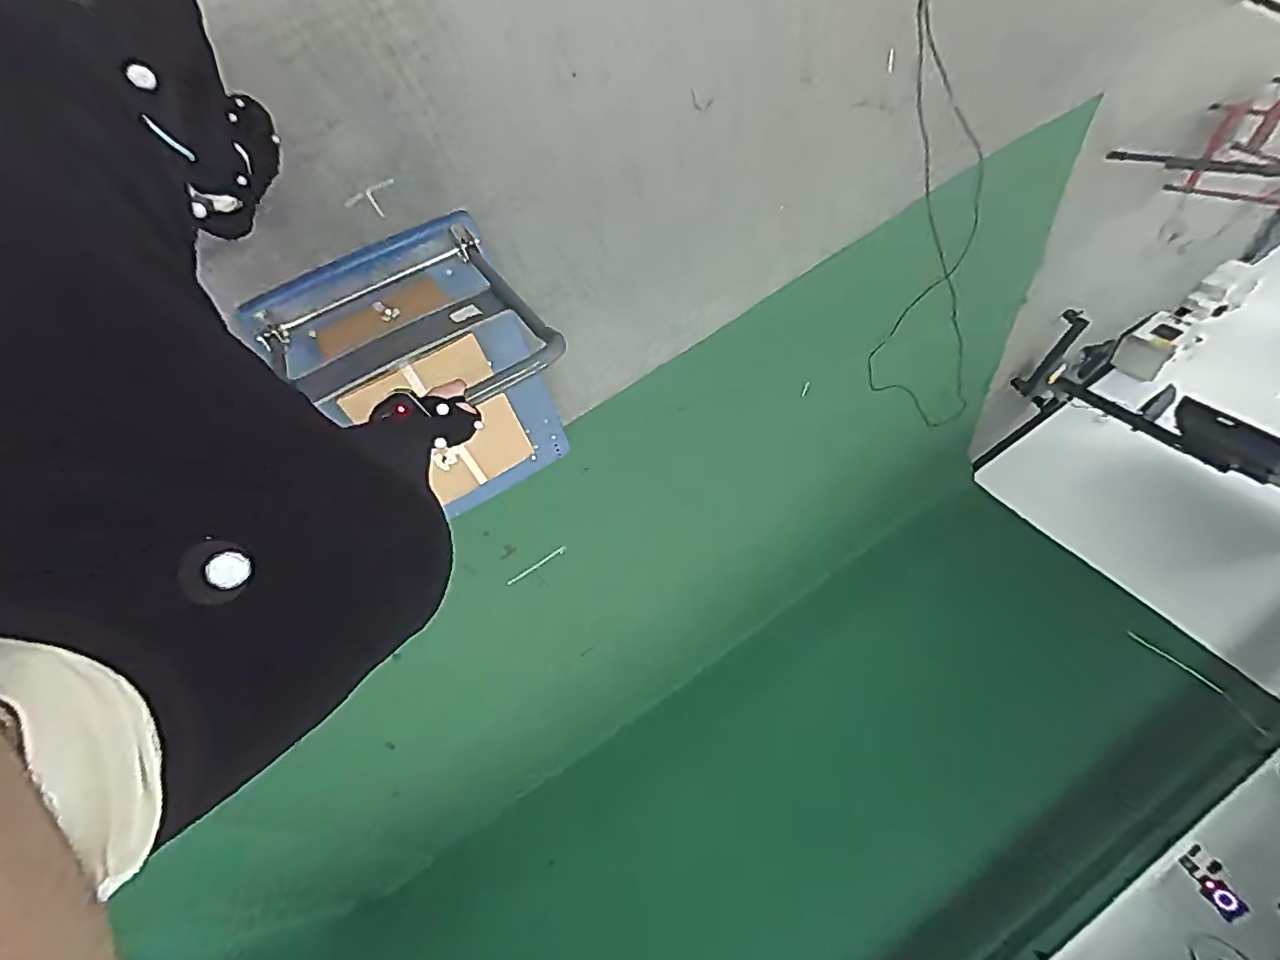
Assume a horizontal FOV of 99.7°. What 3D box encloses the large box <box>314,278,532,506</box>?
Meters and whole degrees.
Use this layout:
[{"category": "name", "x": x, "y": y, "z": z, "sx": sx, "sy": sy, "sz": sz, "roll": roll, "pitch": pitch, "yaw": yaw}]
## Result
[{"category": "large box", "x": -0.532, "y": -0.217, "z": 1.364, "sx": 0.320, "sy": 0.320, "sz": 0.408, "roll": -31, "pitch": 142, "yaw": -11}]
